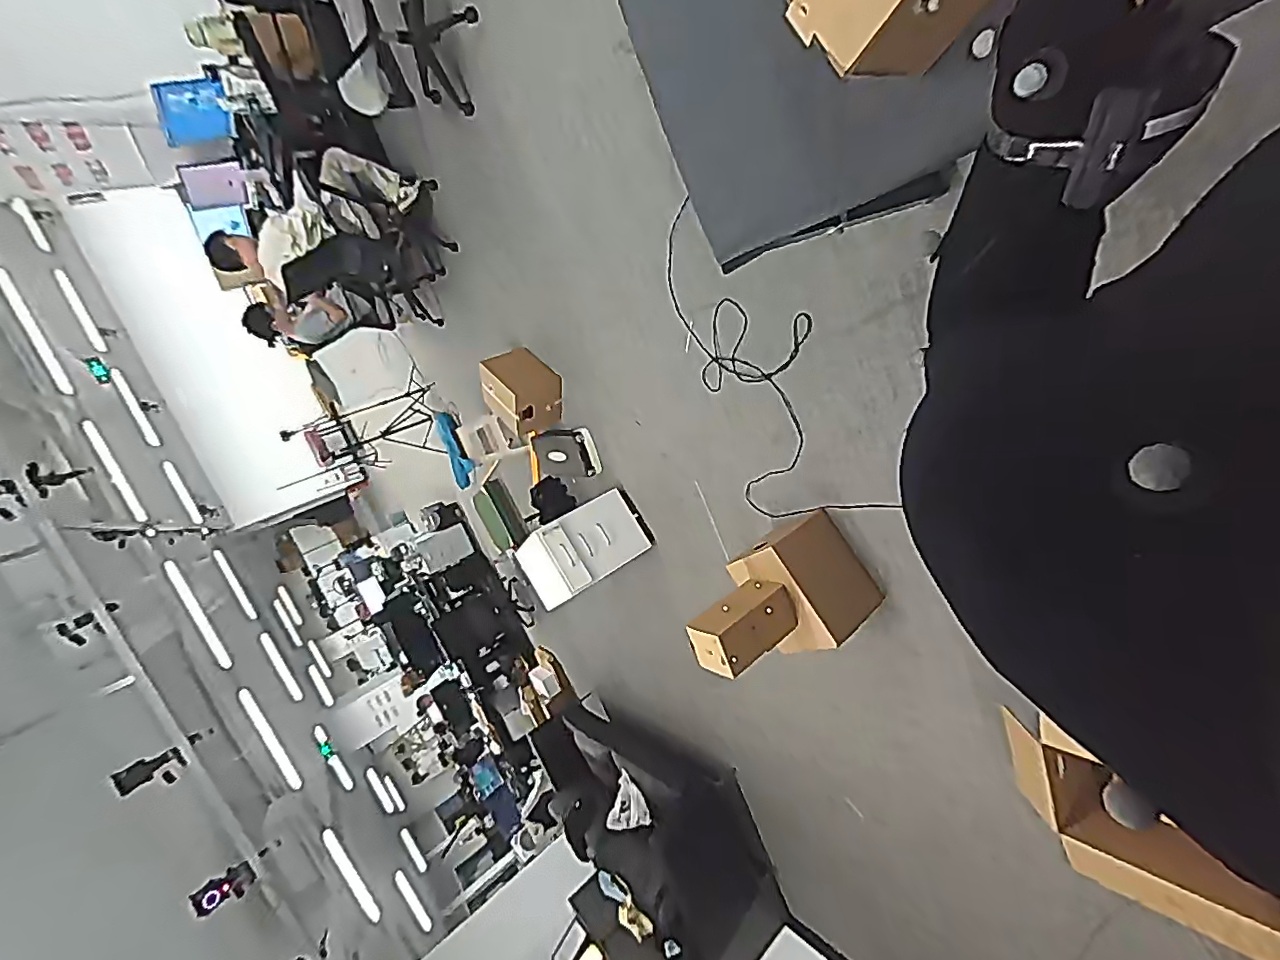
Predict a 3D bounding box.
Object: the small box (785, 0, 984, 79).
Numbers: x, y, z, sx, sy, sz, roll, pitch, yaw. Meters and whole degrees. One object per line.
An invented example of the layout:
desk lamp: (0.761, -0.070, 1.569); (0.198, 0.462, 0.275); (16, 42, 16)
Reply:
small box: (0.268, -0.550, 0.547); (0.168, 0.176, 0.179); (59, 148, 5)

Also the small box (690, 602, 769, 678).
small box: (0.308, 0.538, 1.848); (0.179, 0.176, 0.168); (-3, 112, 58)
